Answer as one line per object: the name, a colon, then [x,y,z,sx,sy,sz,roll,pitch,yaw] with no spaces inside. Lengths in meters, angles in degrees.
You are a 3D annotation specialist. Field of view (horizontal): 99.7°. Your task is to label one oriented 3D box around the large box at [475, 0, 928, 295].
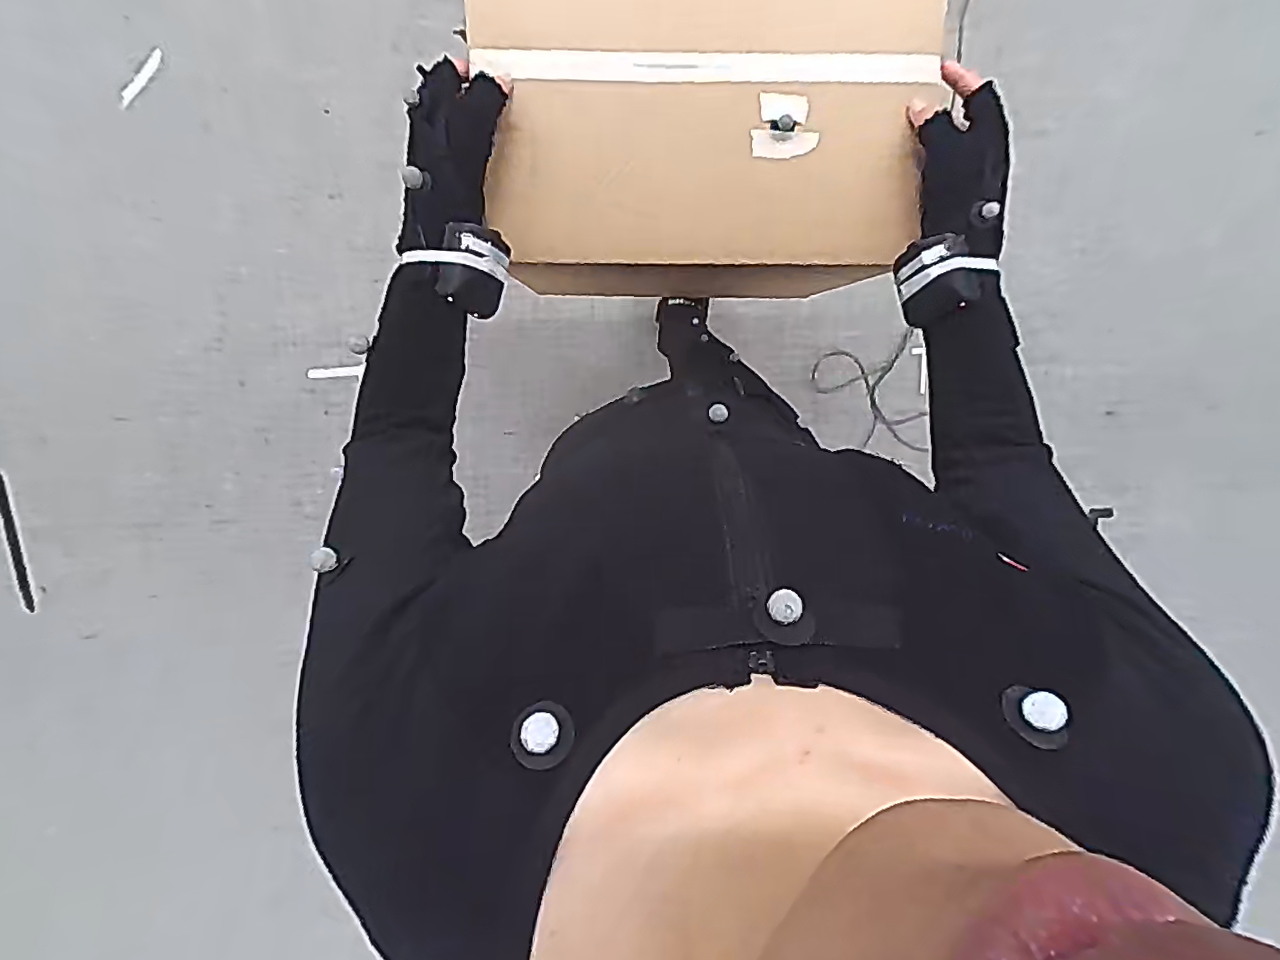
large box: [0.049,-0.397,0.628,0.408,0.320,0.320,-1,103,-3]
